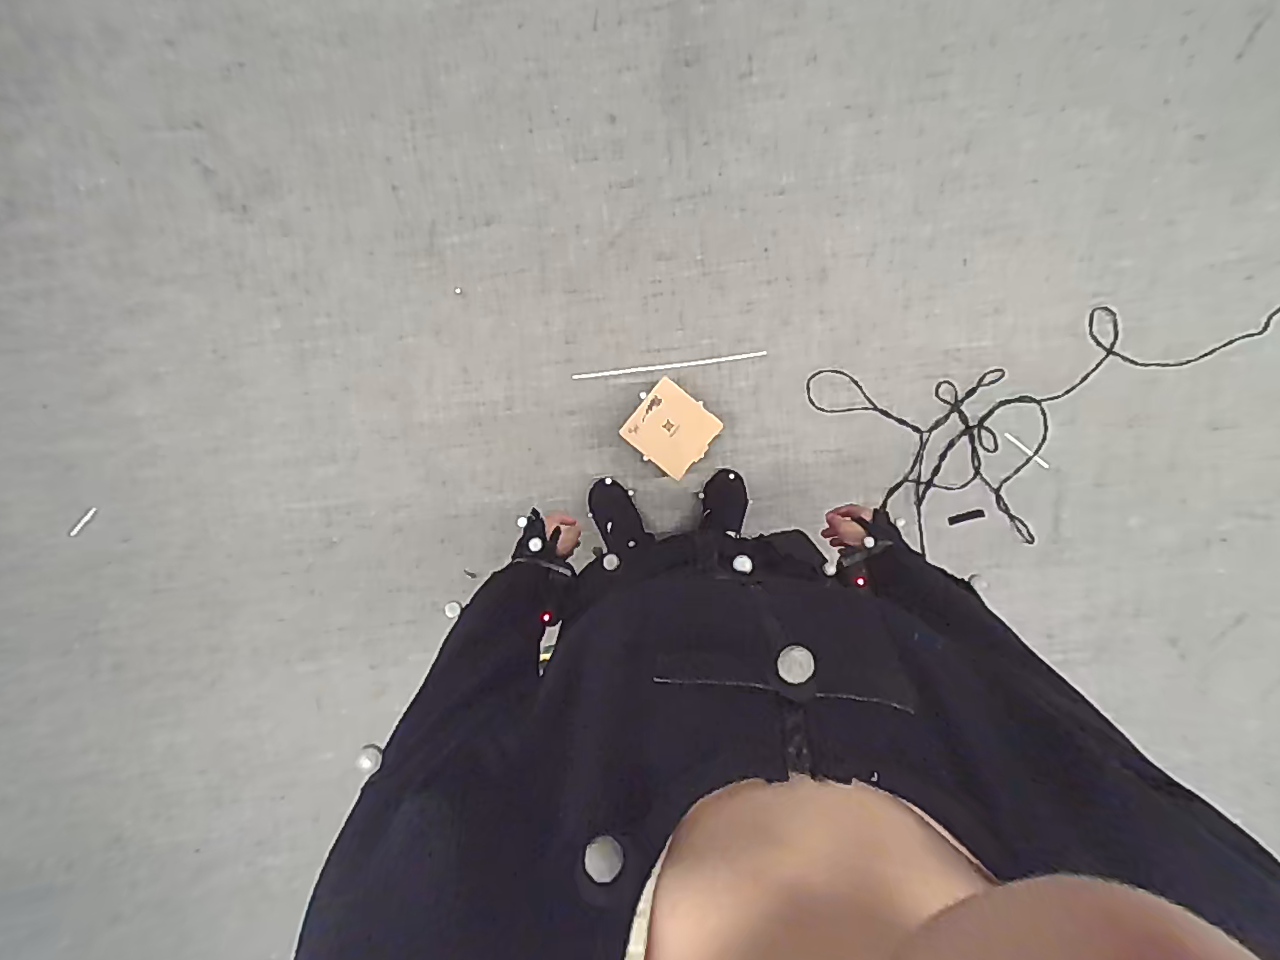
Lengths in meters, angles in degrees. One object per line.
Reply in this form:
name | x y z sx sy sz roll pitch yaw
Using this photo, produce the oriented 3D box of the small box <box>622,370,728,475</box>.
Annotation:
small box | 0.080 -0.136 1.259 0.179 0.176 0.168 39 96 -3
